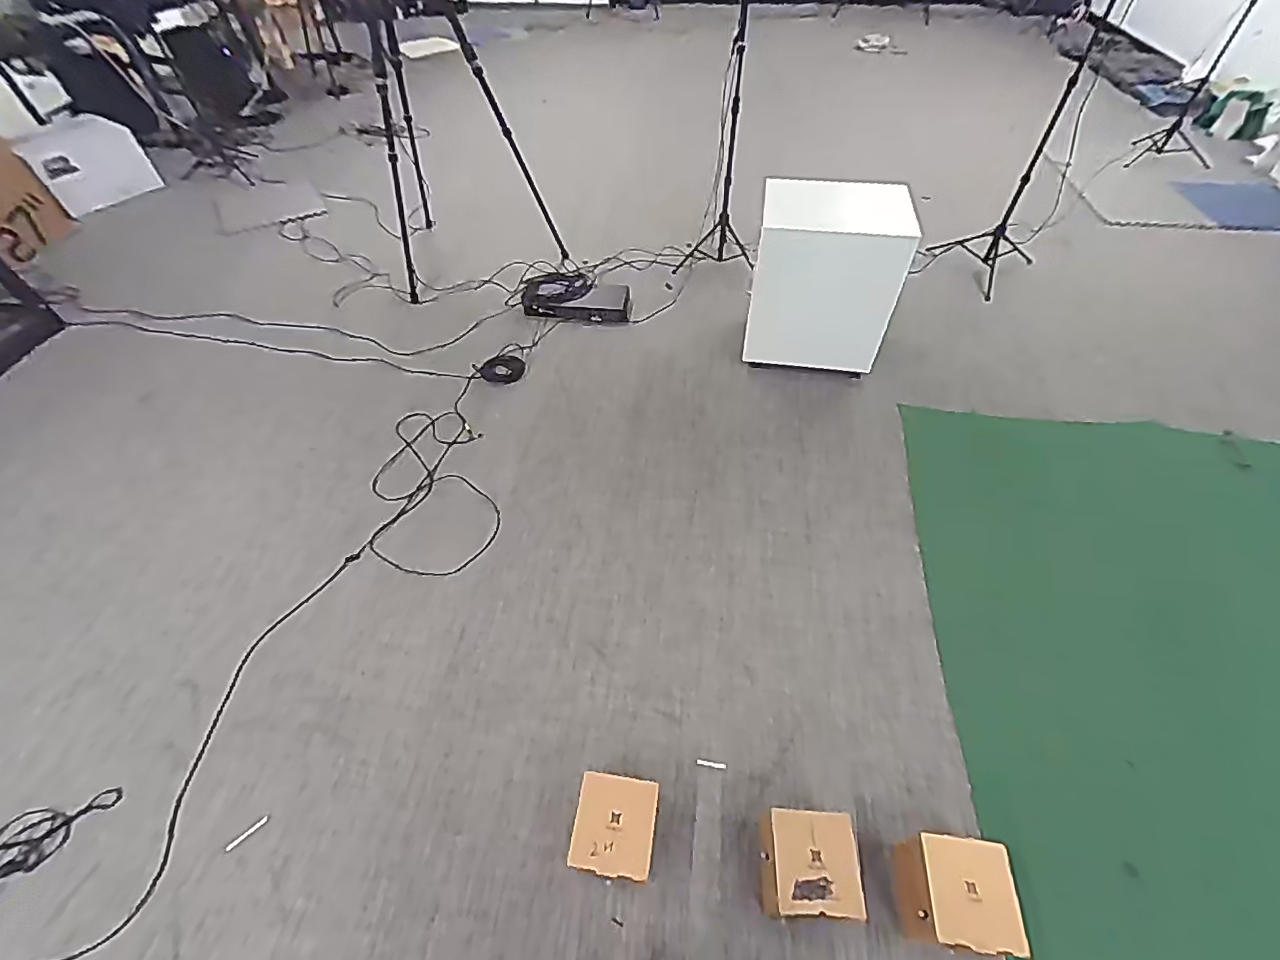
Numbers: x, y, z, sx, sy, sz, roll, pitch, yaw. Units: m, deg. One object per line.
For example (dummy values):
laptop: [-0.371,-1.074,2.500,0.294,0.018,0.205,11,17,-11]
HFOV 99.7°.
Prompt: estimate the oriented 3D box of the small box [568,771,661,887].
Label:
small box: [-0.049,0.755,1.168,0.168,0.176,0.179,6,51,7]

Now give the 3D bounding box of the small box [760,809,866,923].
small box: [0.348,0.804,1.124,0.168,0.176,0.179,3,49,3]

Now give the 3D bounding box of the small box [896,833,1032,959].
small box: [0.637,0.839,1.093,0.168,0.176,0.179,5,51,6]
